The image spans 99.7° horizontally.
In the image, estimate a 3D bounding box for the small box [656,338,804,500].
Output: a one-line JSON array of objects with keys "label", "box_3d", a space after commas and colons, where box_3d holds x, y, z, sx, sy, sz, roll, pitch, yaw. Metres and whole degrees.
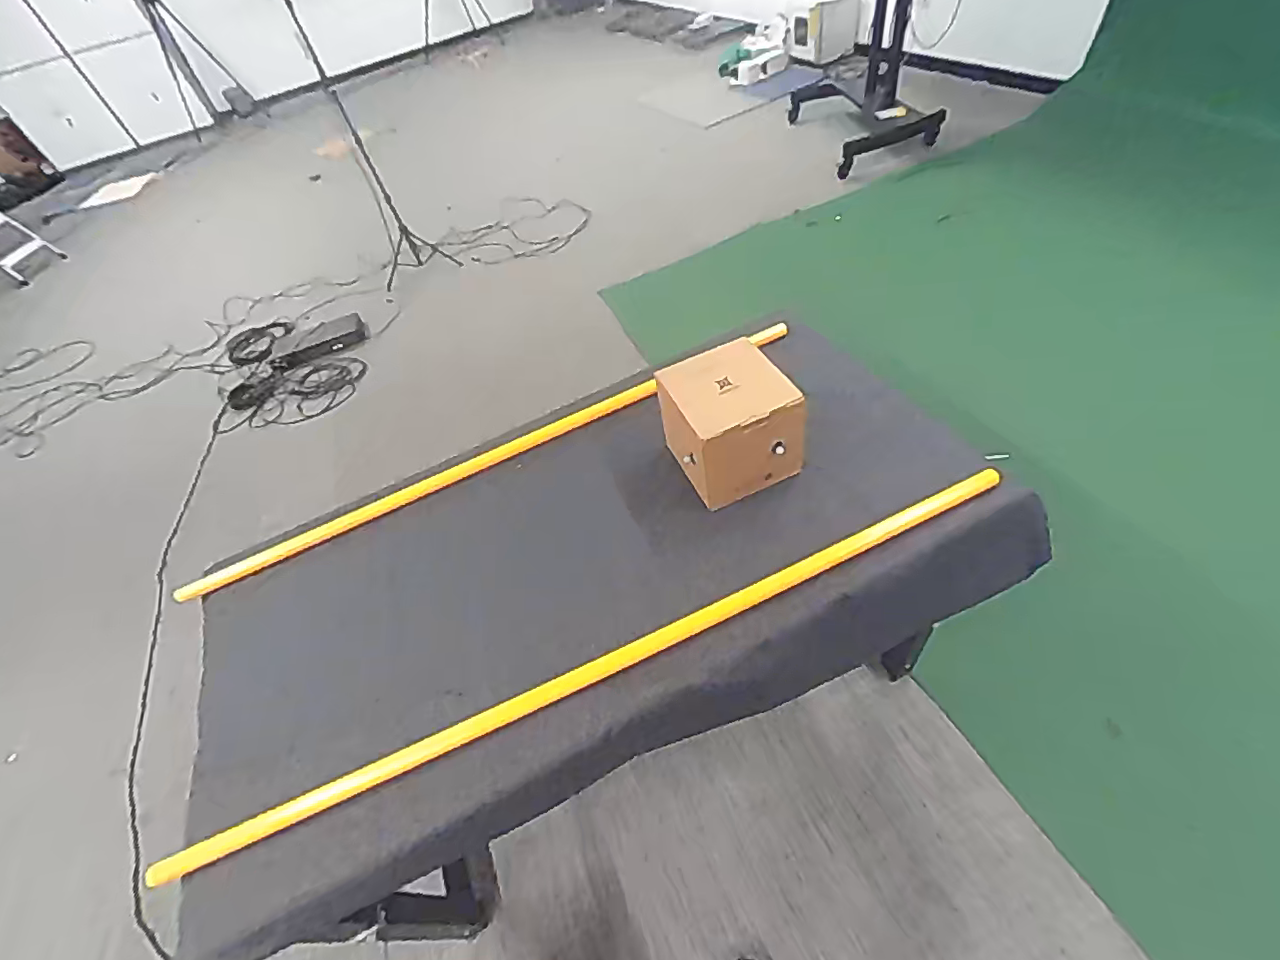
[{"label": "small box", "box_3d": [0.143, -0.090, 0.866, 0.168, 0.176, 0.179, -23, 48, -8]}]
